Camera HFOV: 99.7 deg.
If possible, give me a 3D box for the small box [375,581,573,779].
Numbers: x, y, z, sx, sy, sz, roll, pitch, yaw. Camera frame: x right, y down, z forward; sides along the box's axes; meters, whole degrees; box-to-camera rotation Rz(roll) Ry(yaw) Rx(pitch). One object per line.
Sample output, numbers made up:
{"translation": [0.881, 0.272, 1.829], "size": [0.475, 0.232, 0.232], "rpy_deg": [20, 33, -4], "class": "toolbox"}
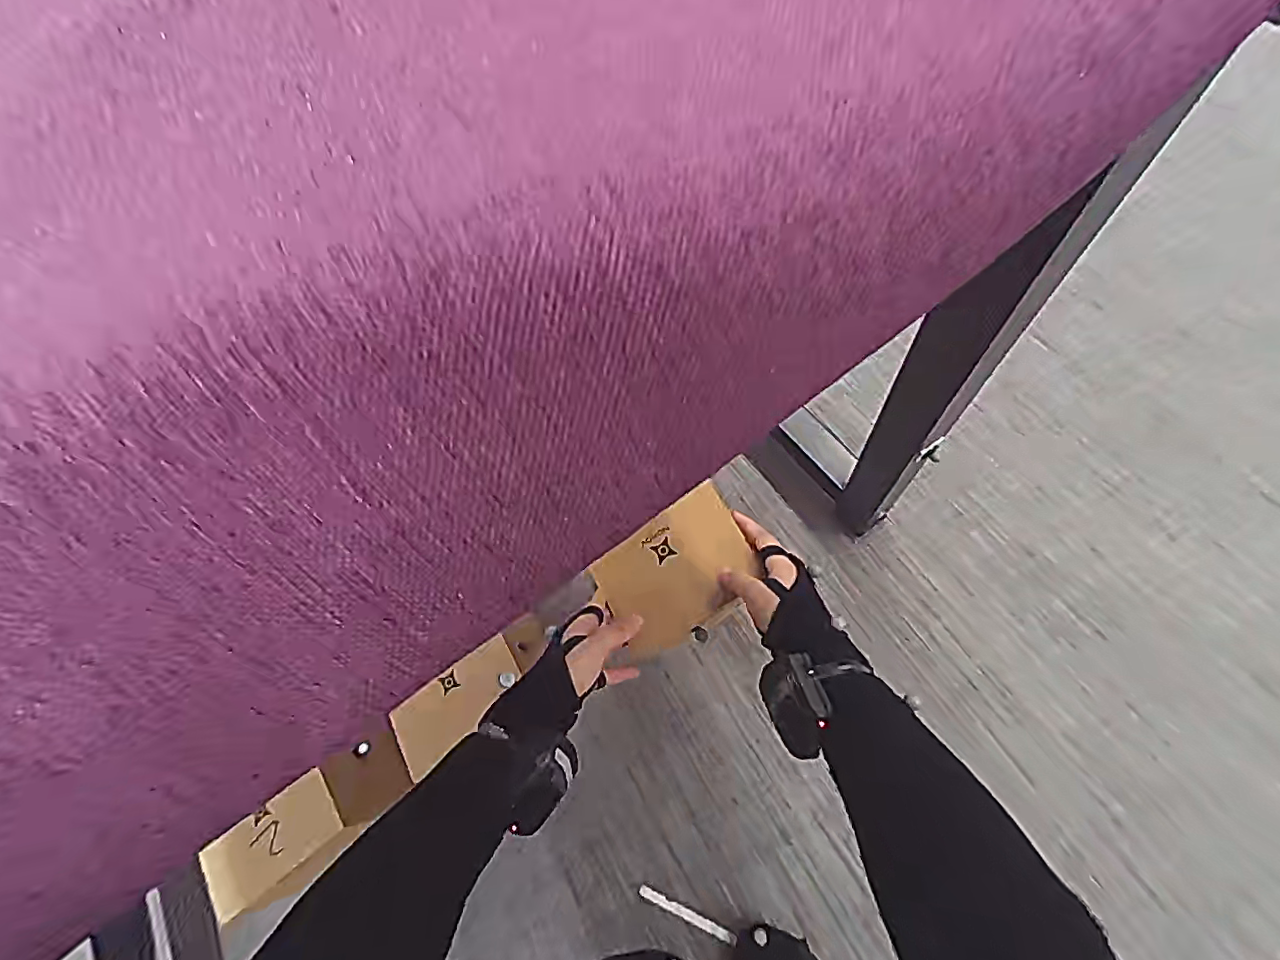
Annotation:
{"translation": [-0.212, 0.264, 0.728], "size": [0.168, 0.176, 0.179], "rpy_deg": [-32, 66, -4], "class": "small box"}
